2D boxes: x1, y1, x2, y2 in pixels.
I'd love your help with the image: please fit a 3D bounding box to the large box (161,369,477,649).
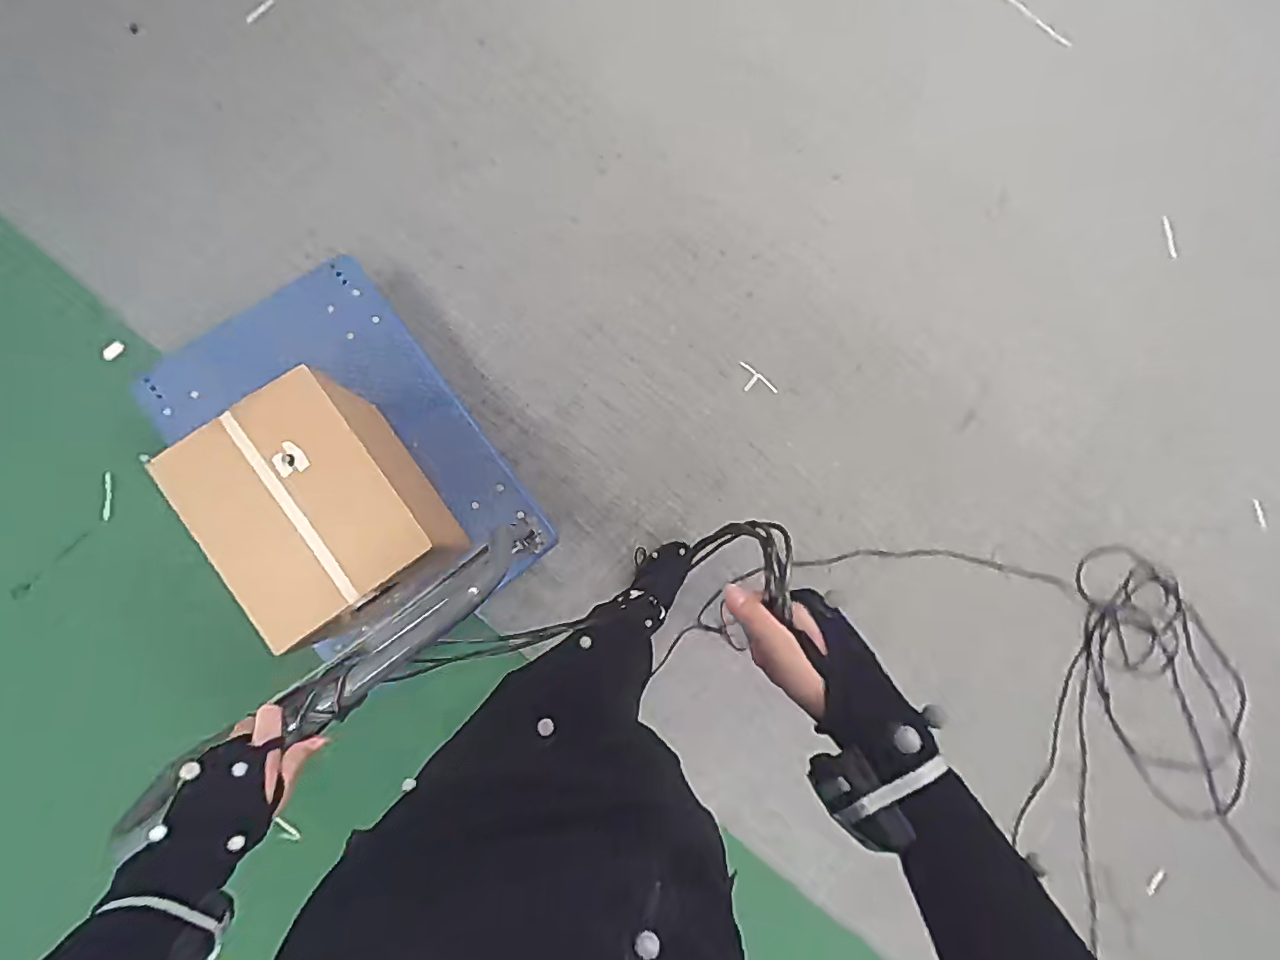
[{"bbox_3d":[-0.597,0.061,1.086,0.320,0.320,0.408,-36,87,-8],"label":"large box"}]
